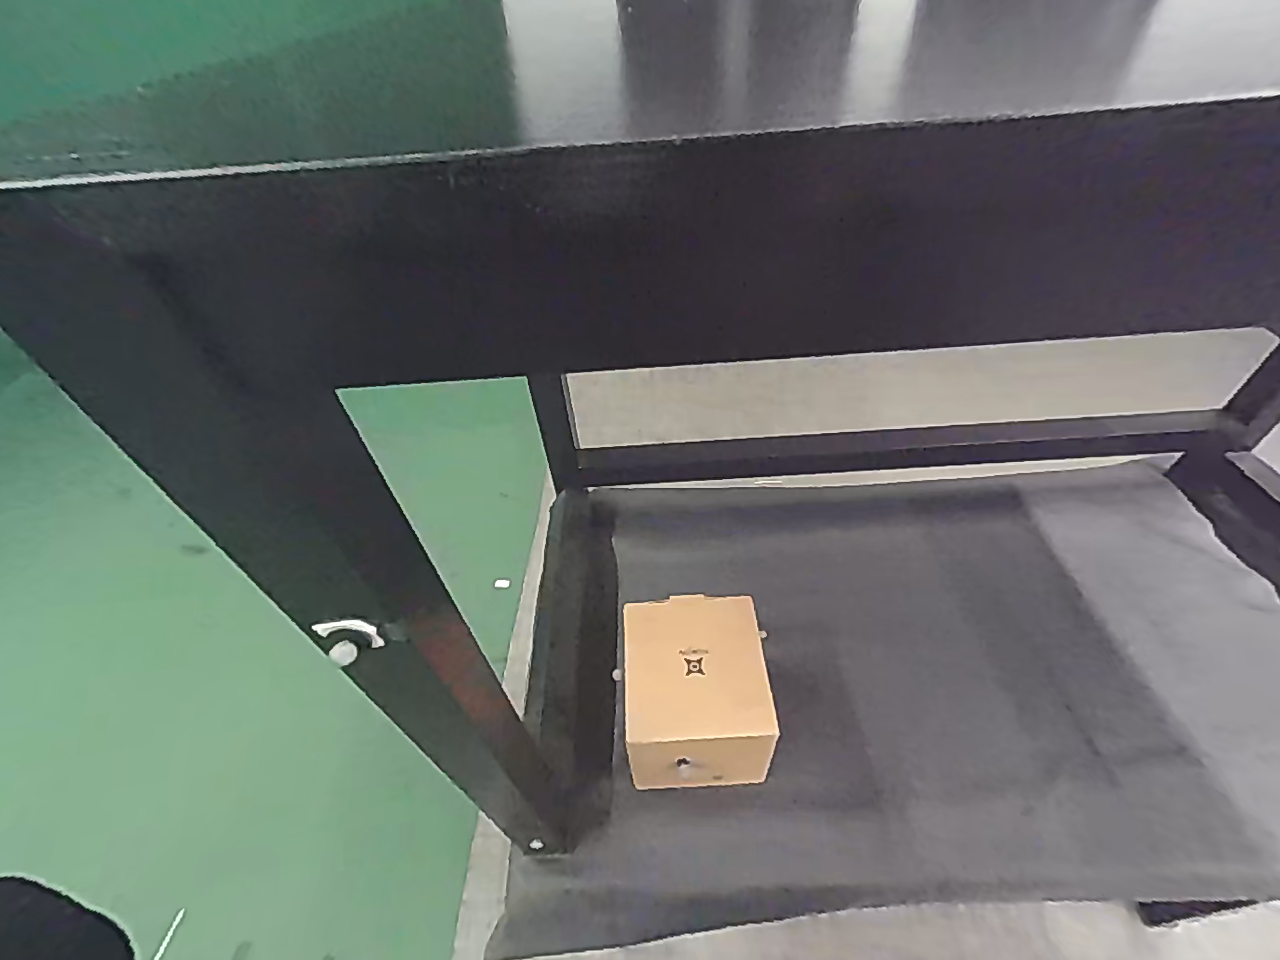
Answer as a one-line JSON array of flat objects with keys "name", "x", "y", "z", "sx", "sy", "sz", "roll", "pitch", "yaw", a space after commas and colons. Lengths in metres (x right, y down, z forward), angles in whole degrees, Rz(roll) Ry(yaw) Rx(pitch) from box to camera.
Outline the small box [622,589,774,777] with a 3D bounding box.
[{"name": "small box", "x": 0.067, "y": 0.262, "z": 0.688, "sx": 0.168, "sy": 0.176, "sz": 0.179, "roll": -4, "pitch": 44, "yaw": 1}]
